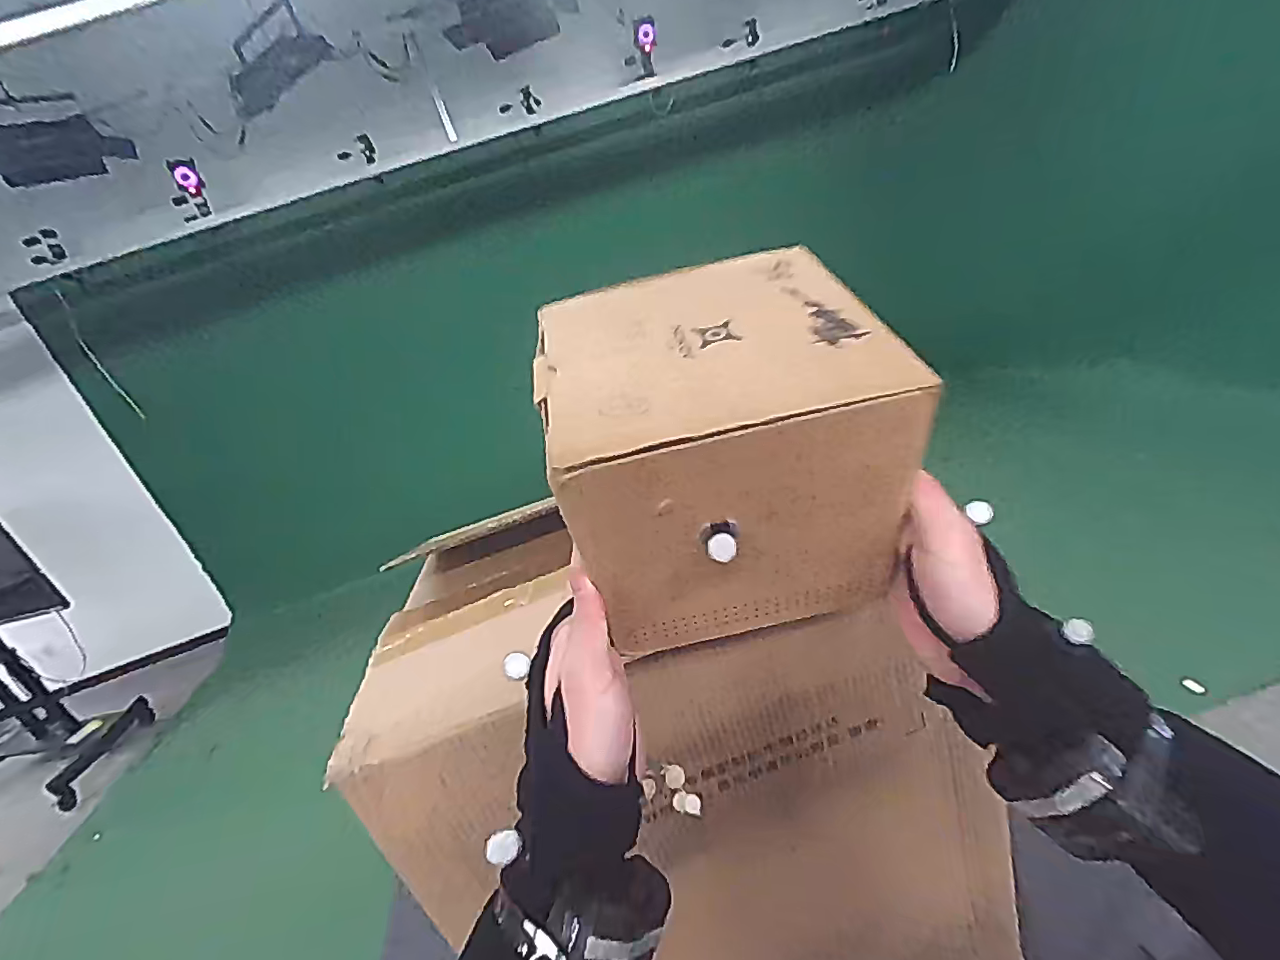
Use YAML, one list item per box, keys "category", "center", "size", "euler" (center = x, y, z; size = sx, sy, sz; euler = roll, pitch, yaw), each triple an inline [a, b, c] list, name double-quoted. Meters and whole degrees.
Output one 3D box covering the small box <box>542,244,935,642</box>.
- category: "small box"
  center: [0.047, -0.019, 0.343]
  size: [0.179, 0.176, 0.168]
  euler: [-13, 46, 1]
